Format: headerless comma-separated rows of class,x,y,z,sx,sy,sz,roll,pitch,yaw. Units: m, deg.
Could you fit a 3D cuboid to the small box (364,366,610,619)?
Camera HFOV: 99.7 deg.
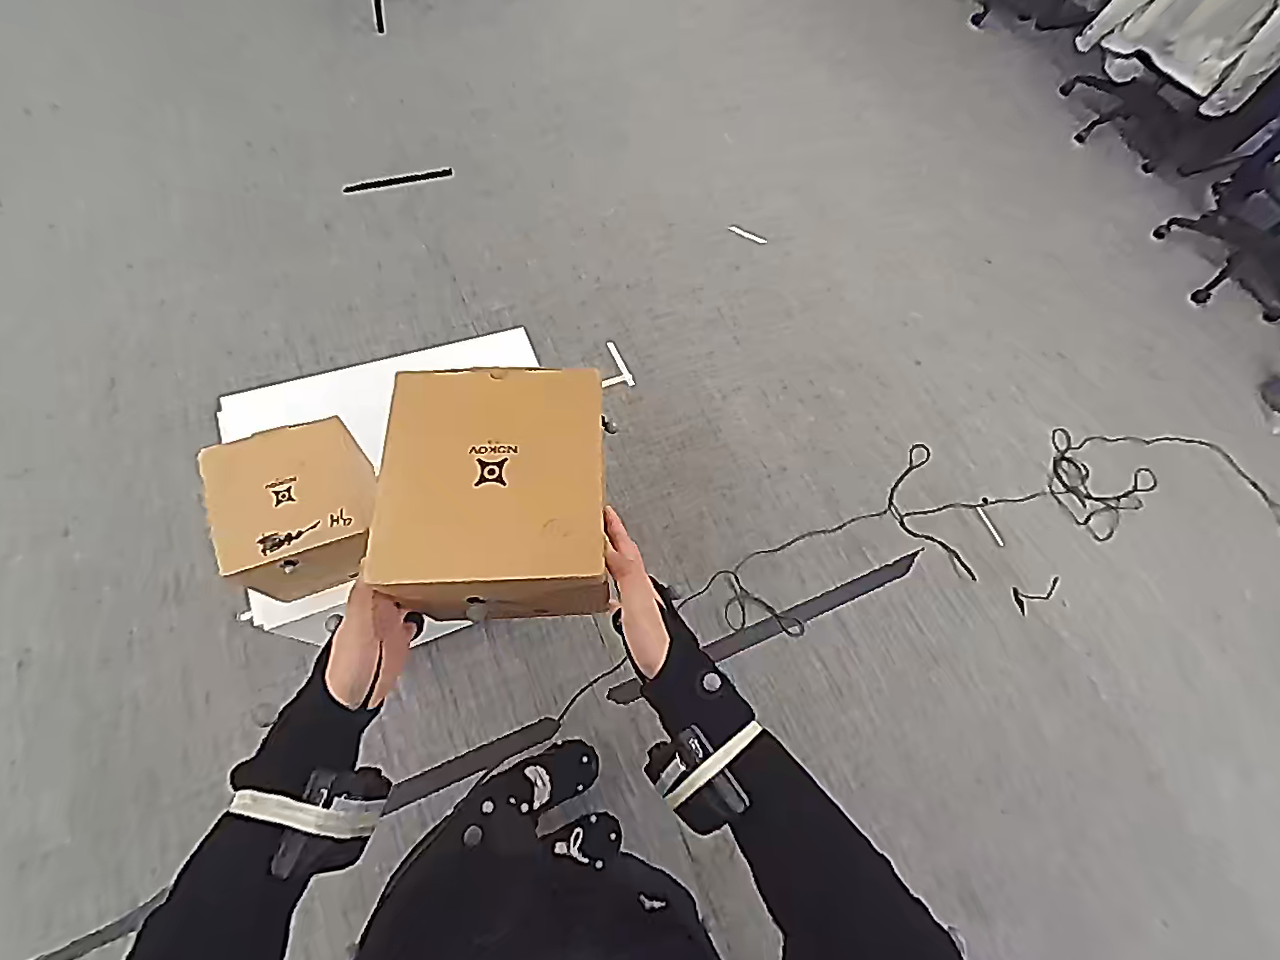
small box,-0.113,0.022,0.474,0.168,0.176,0.179,-3,66,-3

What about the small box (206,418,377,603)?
small box,-0.450,0.047,0.742,0.168,0.176,0.179,-19,71,-17
